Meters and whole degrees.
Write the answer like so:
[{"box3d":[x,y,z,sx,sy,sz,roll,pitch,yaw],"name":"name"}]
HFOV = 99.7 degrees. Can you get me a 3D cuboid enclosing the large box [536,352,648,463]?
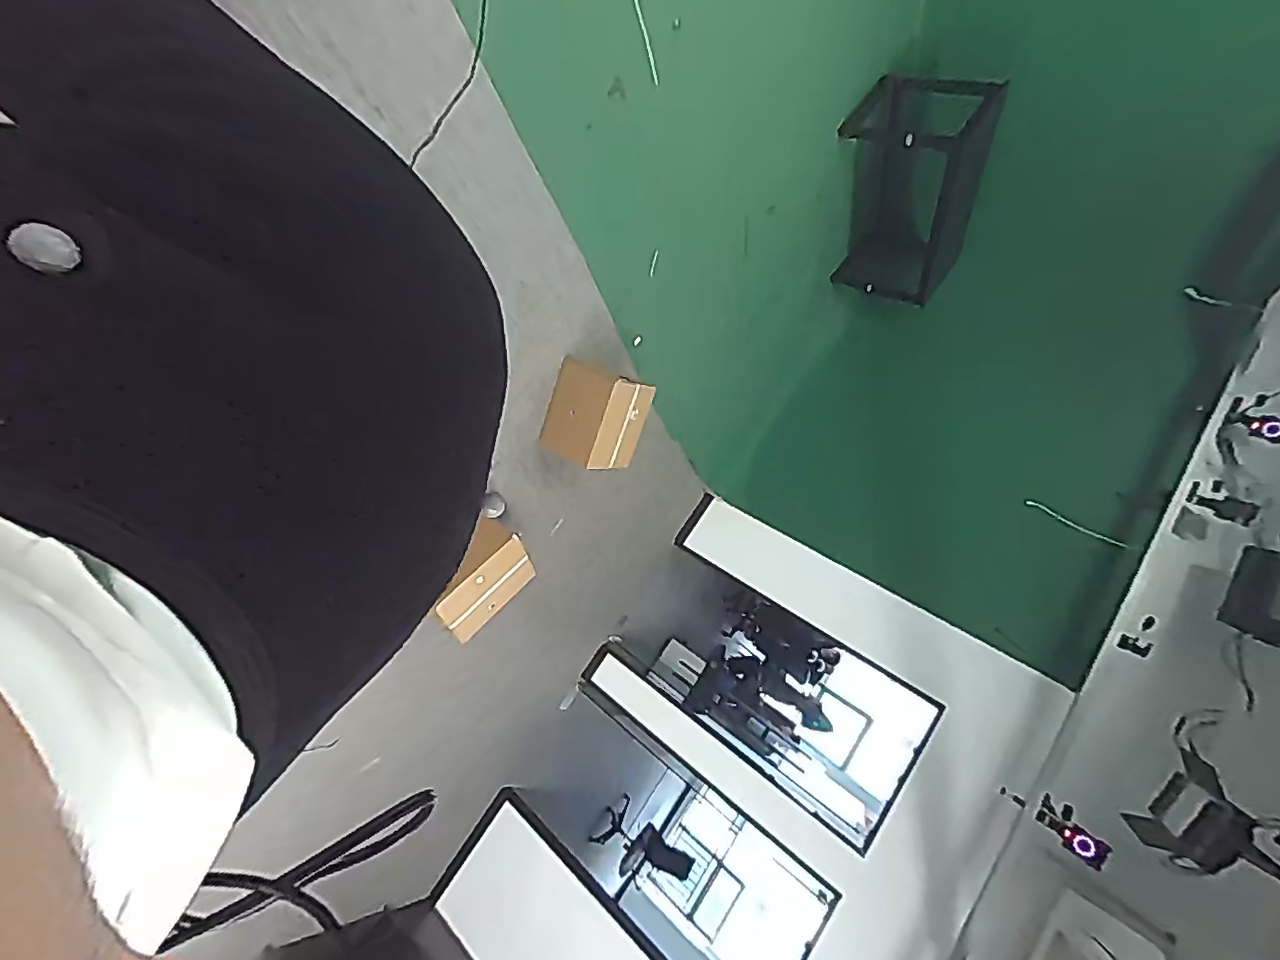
[{"box3d":[-0.223,-0.325,2.447,0.320,0.320,0.408,-8,122,-57],"name":"large box"}]
